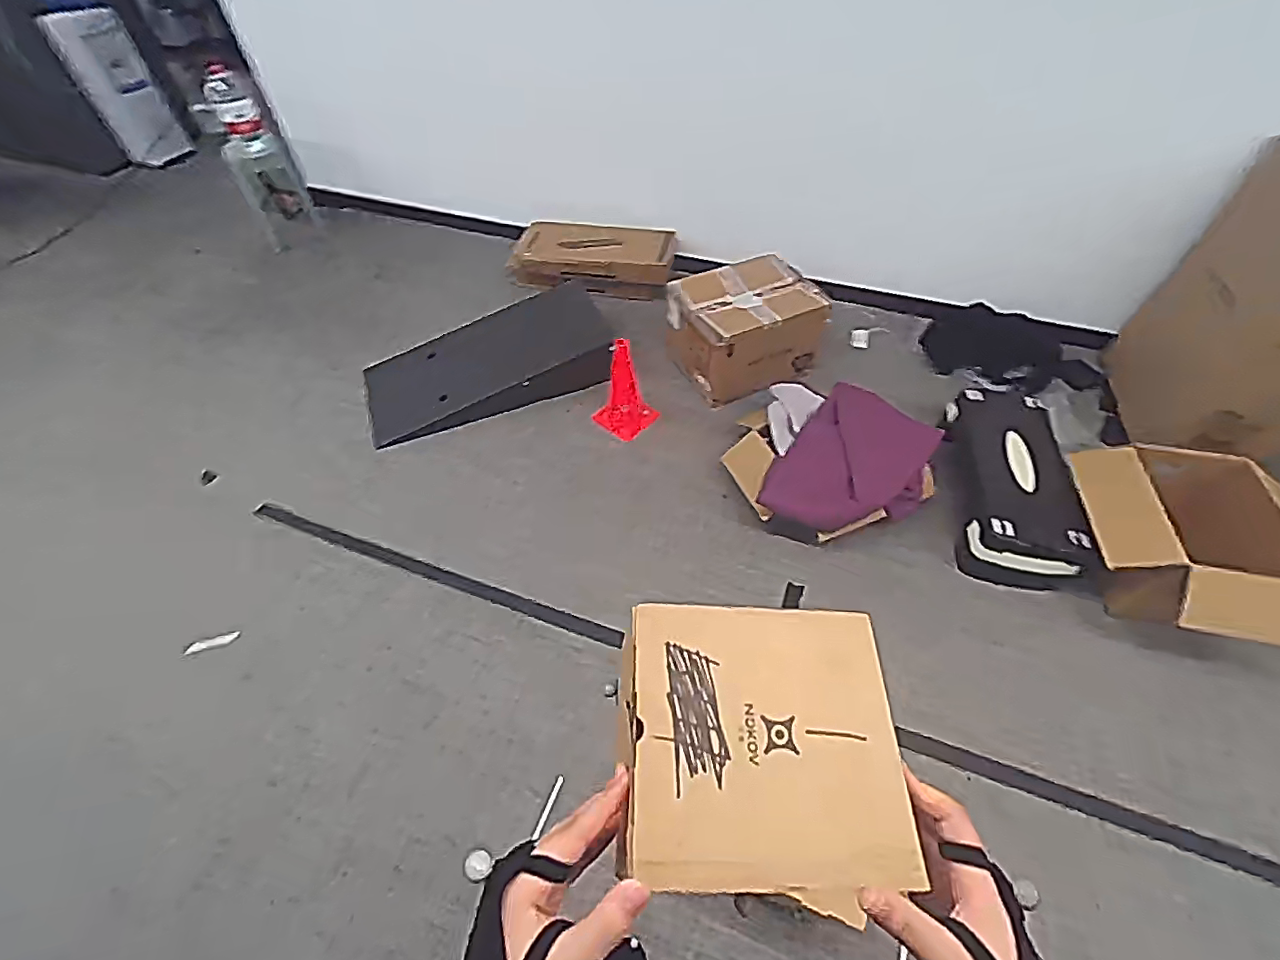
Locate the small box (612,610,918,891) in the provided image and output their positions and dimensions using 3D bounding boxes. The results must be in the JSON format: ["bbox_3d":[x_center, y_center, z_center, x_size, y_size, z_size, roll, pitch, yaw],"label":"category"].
[{"bbox_3d":[0.069,0.208,0.416,0.179,0.176,0.168,3,57,-5],"label":"small box"}]

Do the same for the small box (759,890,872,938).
[{"bbox_3d":[0.325,0.708,1.008,0.168,0.176,0.179,18,54,15],"label":"small box"}]
